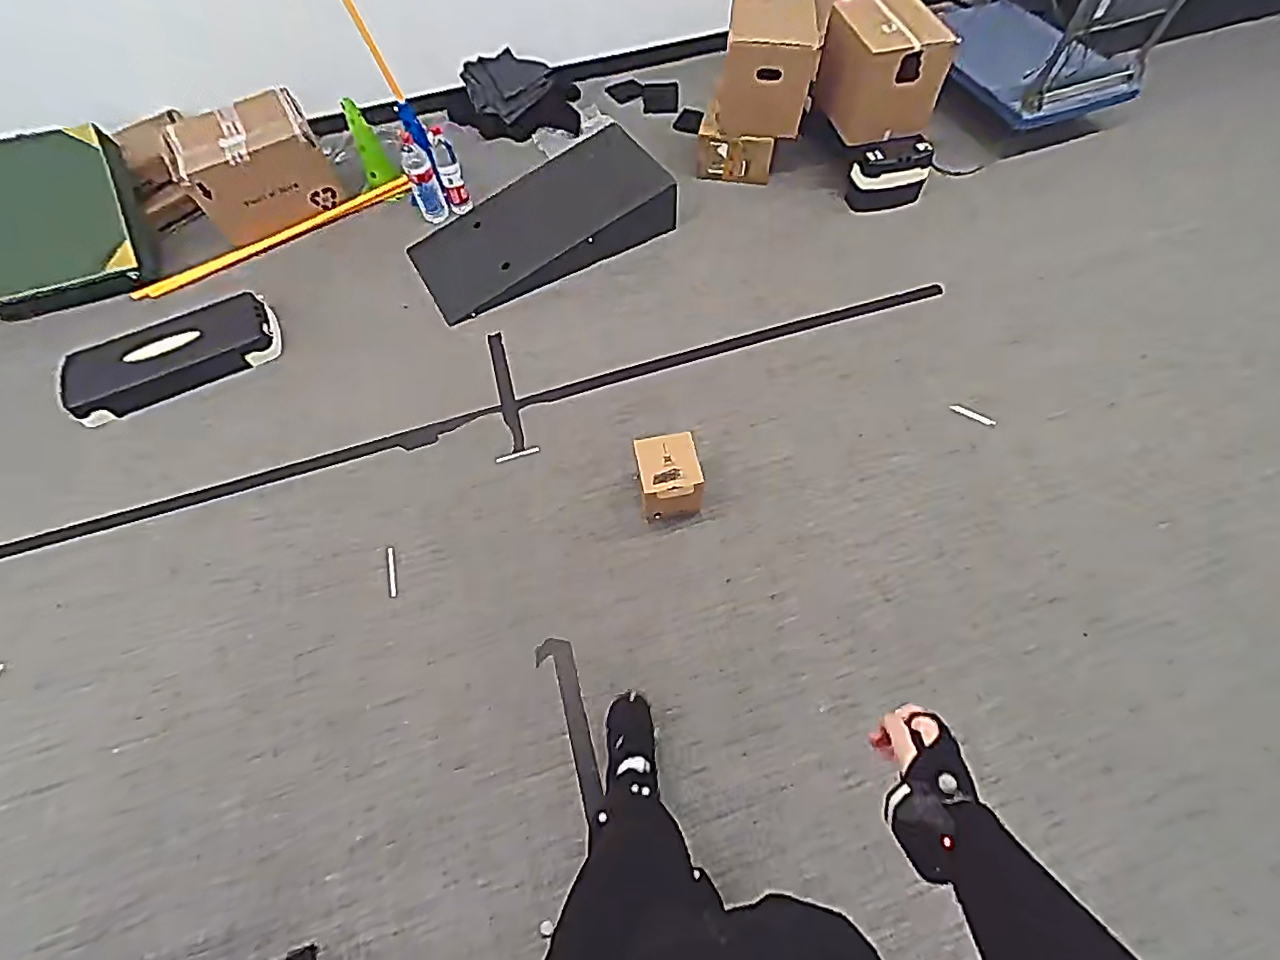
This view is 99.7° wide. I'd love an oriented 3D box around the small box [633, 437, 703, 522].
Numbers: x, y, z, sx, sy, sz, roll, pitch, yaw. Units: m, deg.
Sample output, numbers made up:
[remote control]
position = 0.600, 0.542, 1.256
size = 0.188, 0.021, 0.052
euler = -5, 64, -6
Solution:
[small box]
position = 0.079, 0.007, 1.536
size = 0.168, 0.176, 0.179
euler = -11, 60, -4
